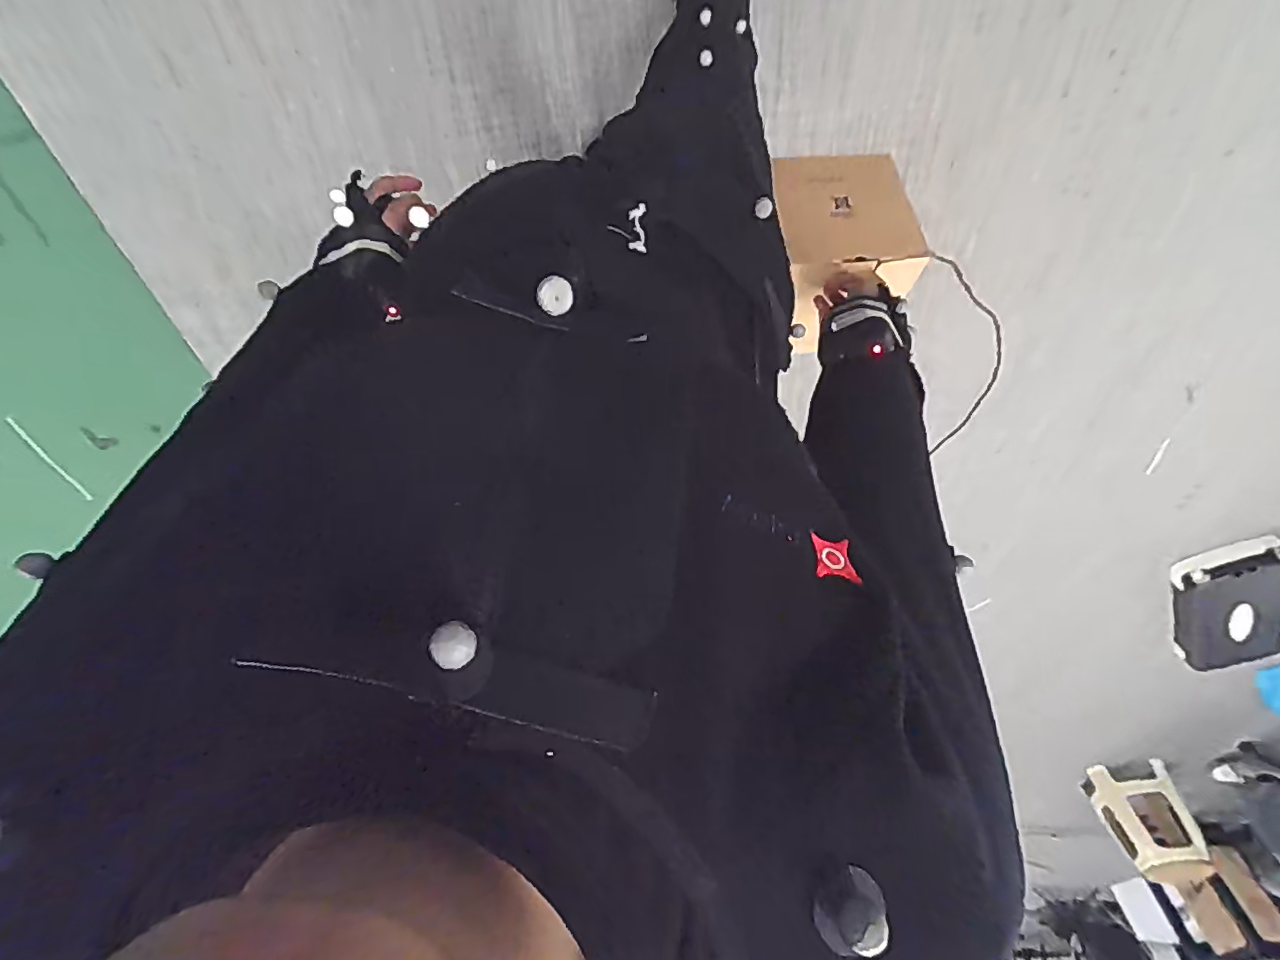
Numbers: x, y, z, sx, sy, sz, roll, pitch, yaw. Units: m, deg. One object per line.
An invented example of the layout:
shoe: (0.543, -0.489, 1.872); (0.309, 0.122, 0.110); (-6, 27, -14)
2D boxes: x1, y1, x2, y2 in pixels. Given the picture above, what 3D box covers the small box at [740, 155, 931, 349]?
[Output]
small box: (0.236, -0.284, 0.702); (0.168, 0.179, 0.176); (-4, 156, -3)
